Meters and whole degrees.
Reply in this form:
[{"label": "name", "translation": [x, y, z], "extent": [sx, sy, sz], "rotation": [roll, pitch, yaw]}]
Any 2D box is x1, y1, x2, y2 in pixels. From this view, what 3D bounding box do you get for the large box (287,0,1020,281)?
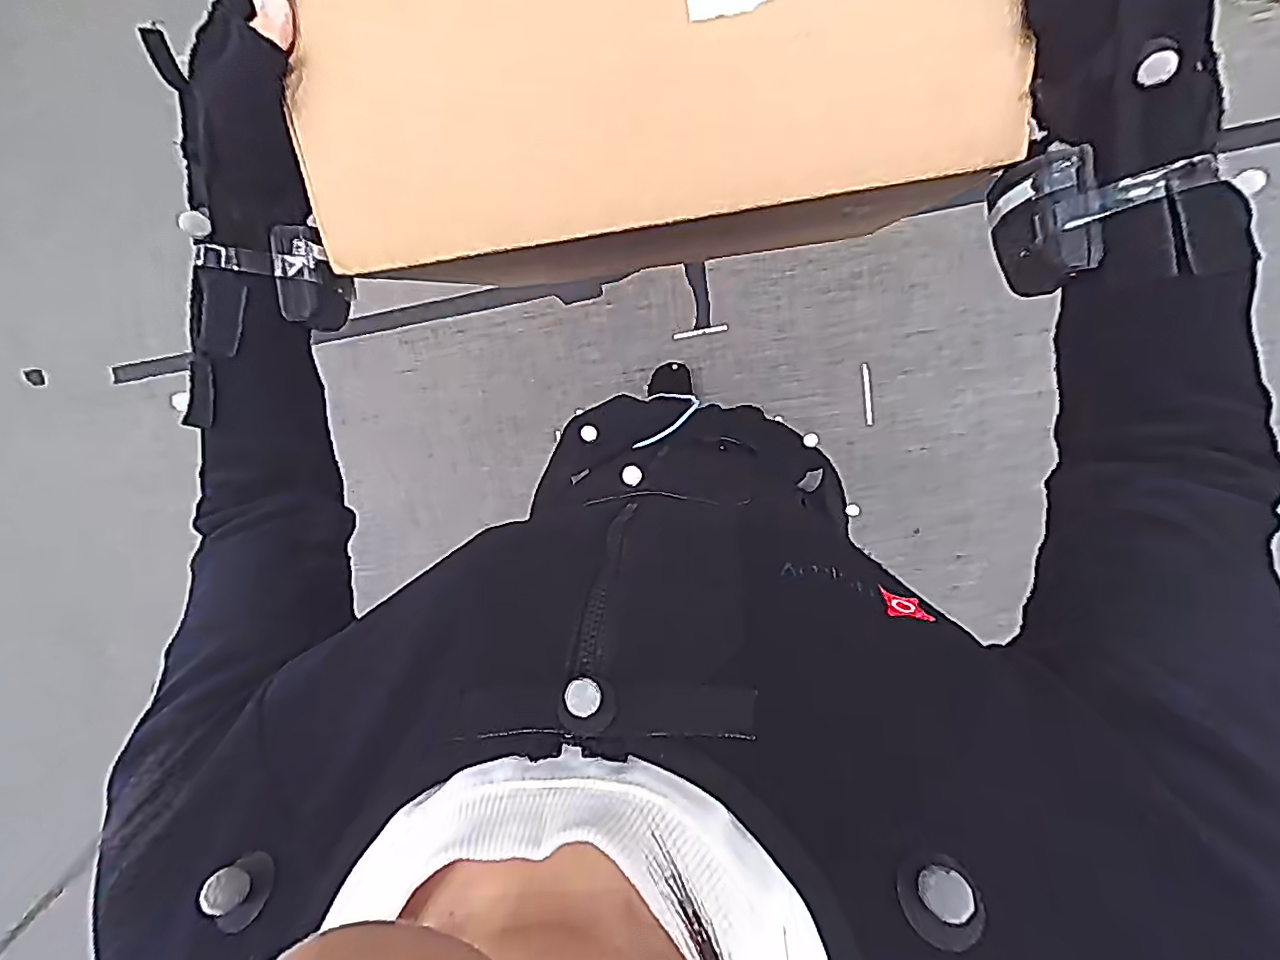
[{"label": "large box", "translation": [0.005, -0.352, 0.422], "extent": [0.408, 0.320, 0.320], "rotation": [-5, 108, 10]}]
